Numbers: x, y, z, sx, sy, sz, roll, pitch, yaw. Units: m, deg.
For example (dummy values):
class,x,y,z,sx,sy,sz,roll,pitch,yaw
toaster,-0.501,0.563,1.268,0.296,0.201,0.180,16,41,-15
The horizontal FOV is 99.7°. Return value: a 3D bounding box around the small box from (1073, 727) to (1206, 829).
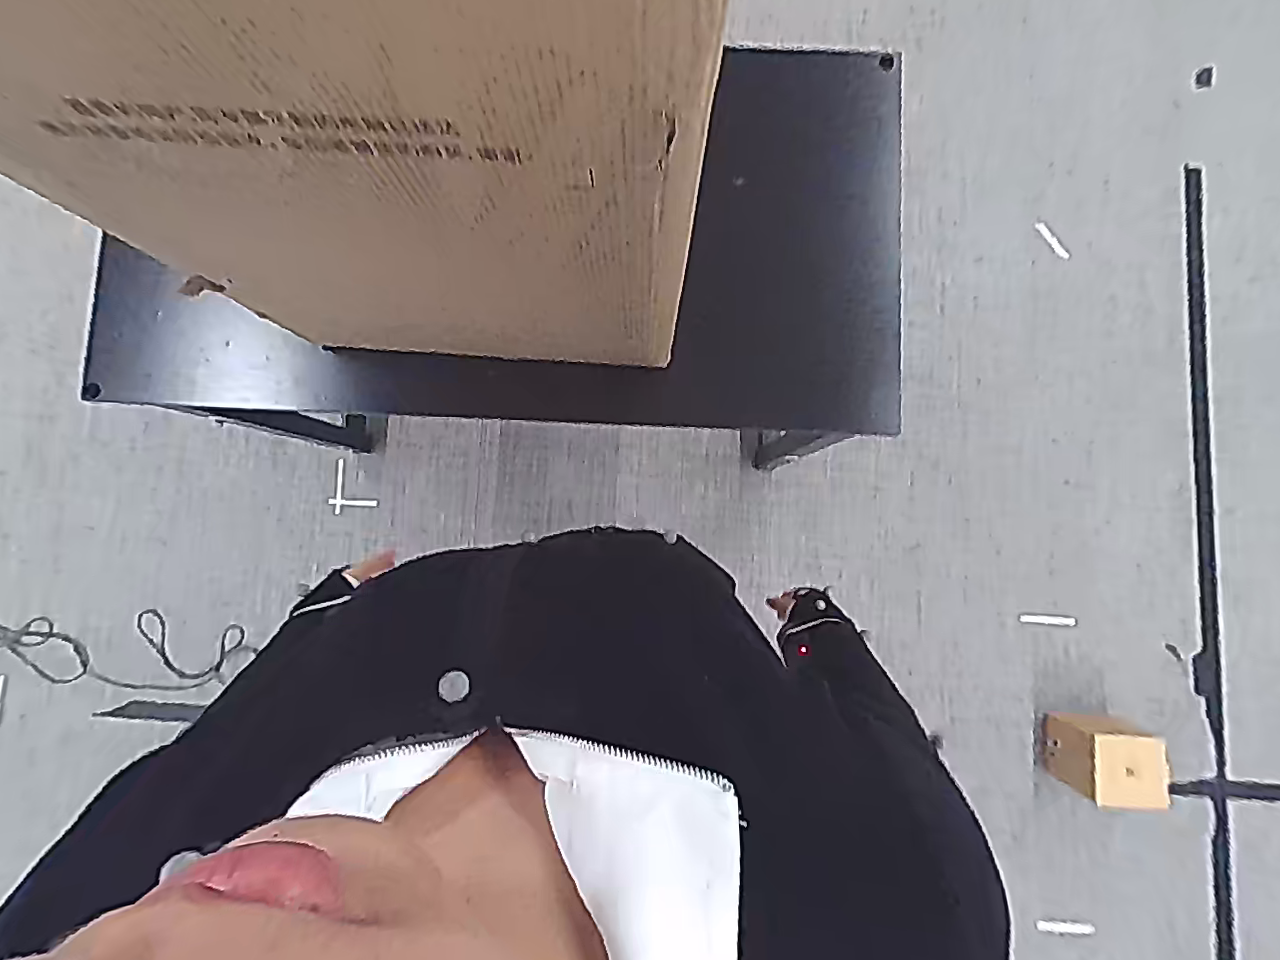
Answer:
class,x,y,z,sx,sy,sz,roll,pitch,yaw
small box,1.206,0.716,1.316,0.179,0.176,0.168,2,85,1
